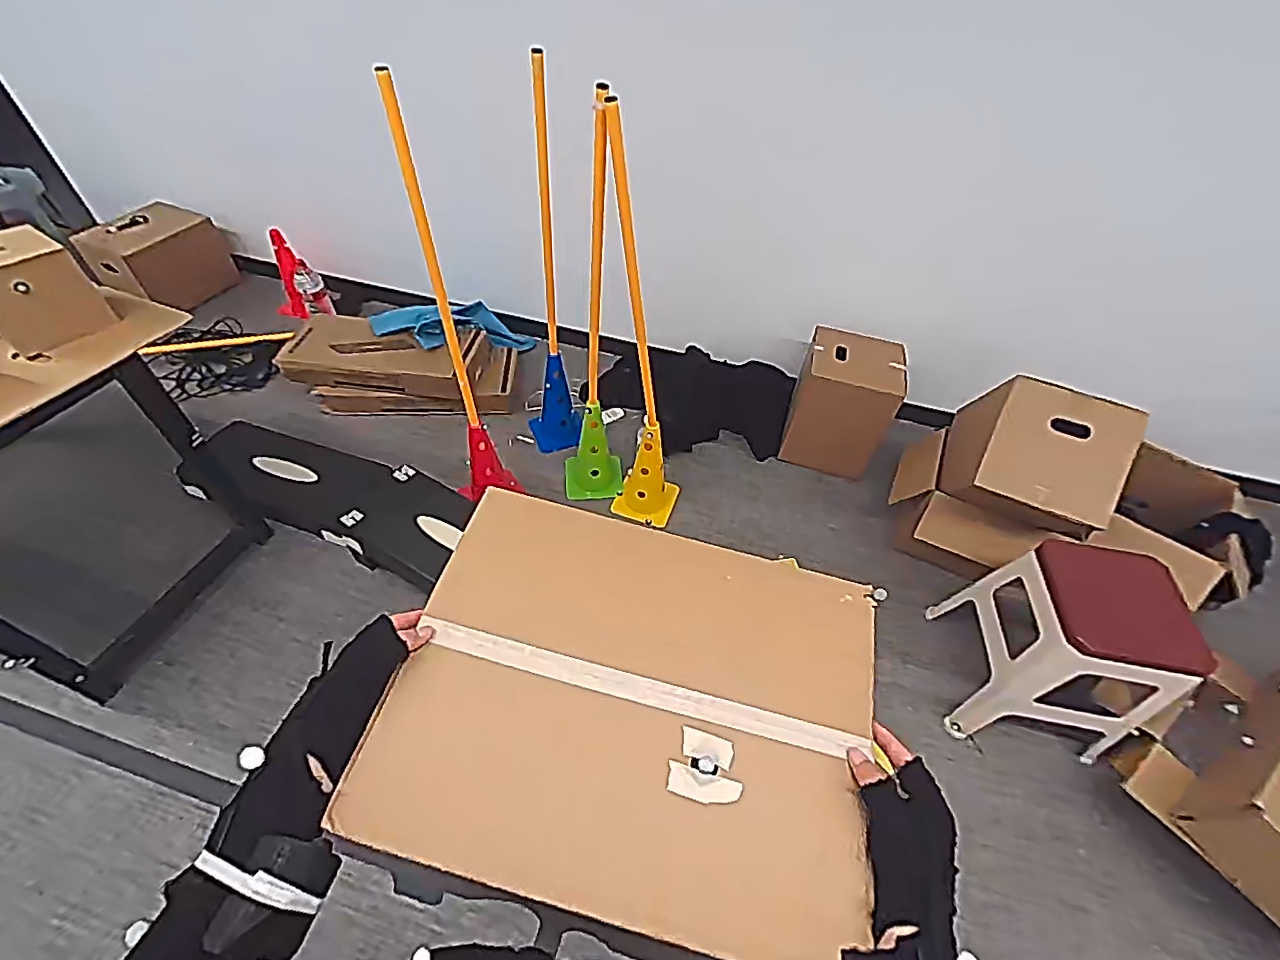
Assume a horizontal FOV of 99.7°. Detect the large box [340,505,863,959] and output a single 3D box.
[{"bbox_3d":[-0.017,0.275,0.598,0.408,0.320,0.320,15,56,3],"label":"large box"}]
